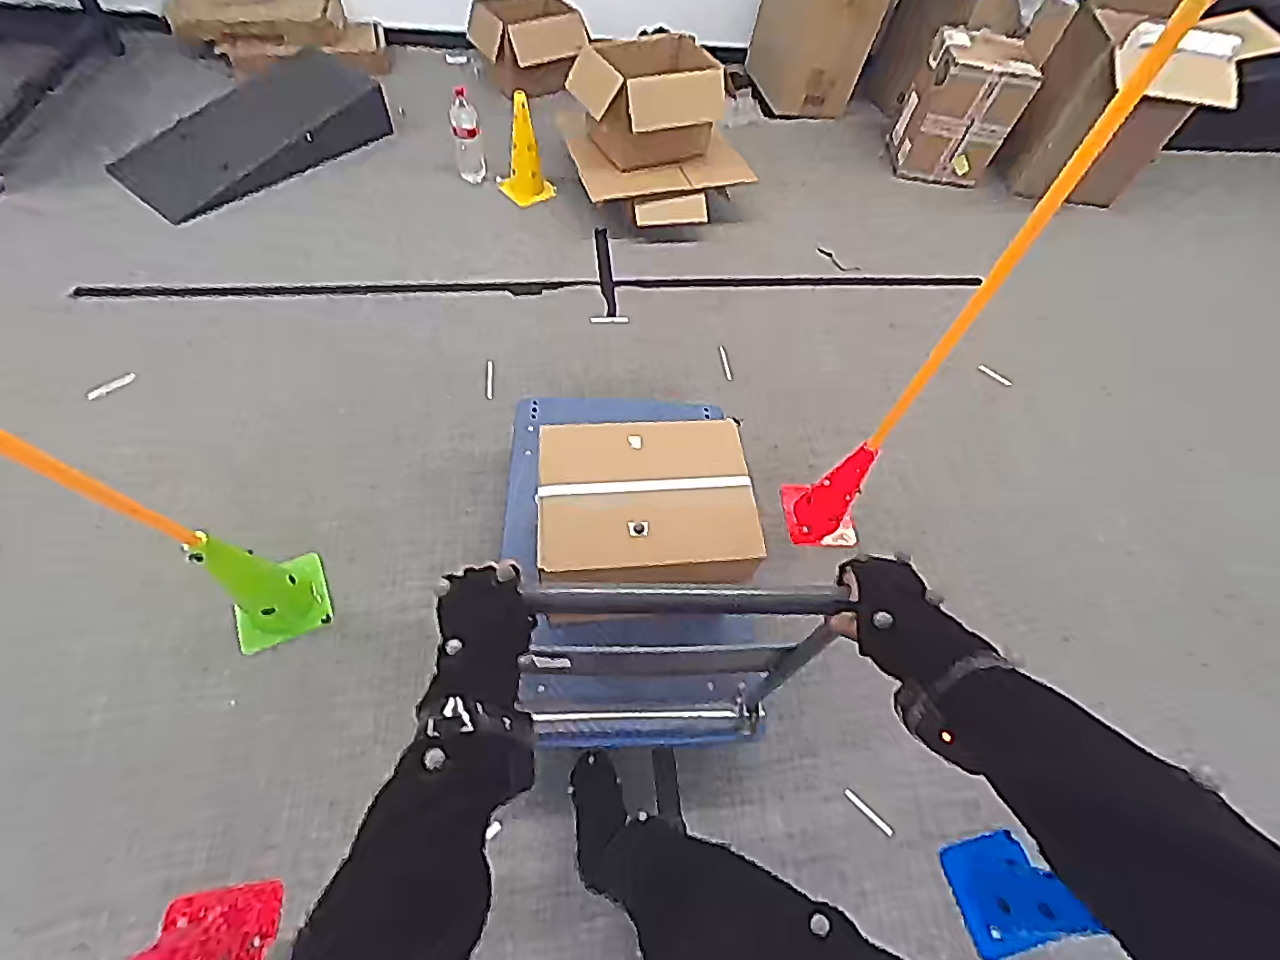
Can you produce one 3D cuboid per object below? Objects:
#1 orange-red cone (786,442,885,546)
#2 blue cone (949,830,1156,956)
[{"bbox_3d":[0.550,0.014,1.436,0.199,0.360,0.198,3,59,-6],"label":"orange-red cone"},{"bbox_3d":[0.785,0.782,1.006,0.193,0.380,0.192,-7,58,-11],"label":"blue cone"}]
